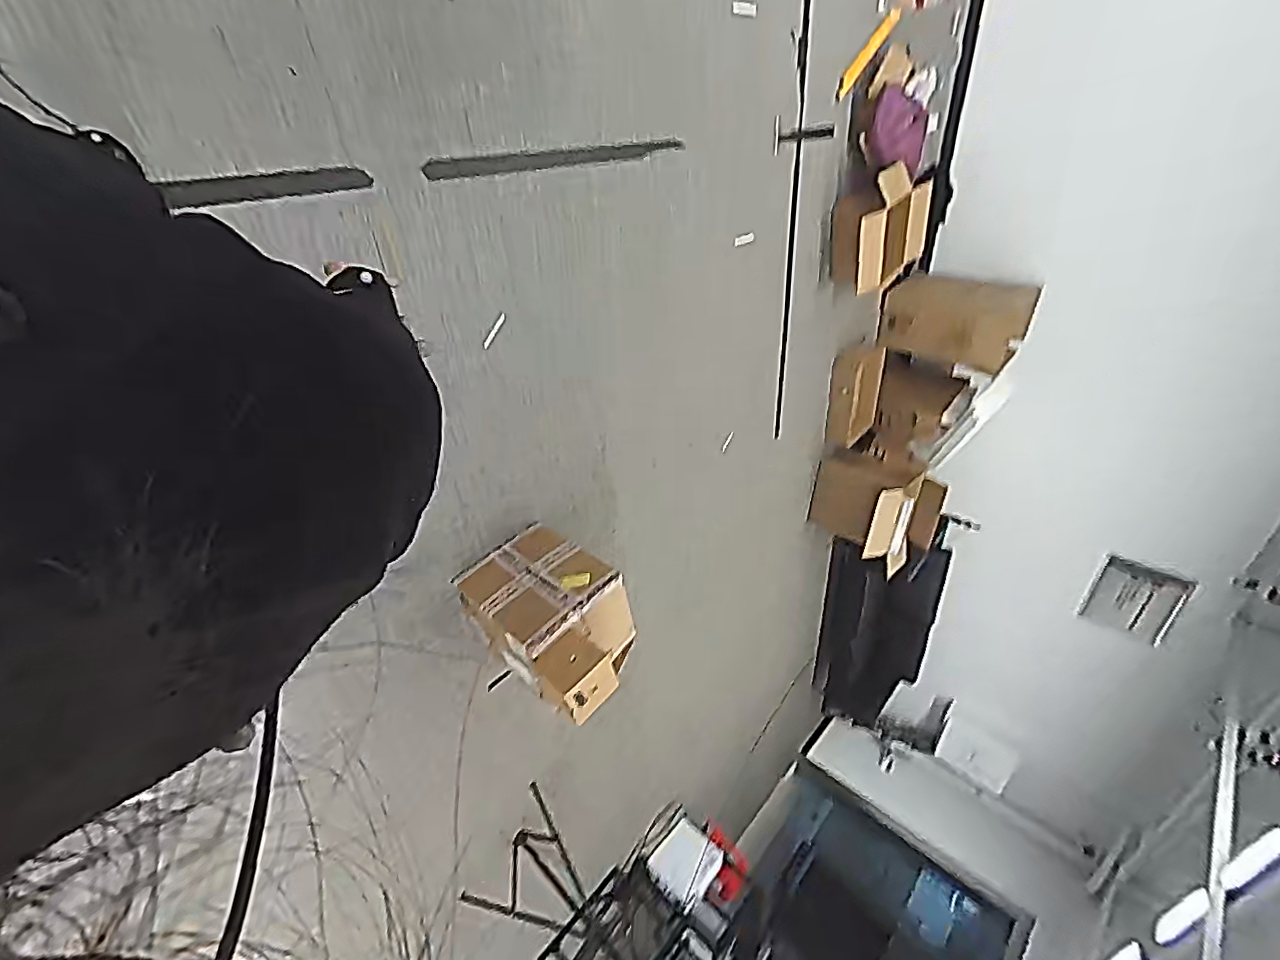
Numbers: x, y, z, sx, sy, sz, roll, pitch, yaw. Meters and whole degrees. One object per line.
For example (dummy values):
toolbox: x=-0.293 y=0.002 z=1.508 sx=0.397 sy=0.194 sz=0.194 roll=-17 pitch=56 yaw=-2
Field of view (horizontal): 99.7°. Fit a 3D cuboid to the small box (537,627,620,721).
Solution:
small box: x=-0.195 y=0.589 z=1.659 sx=0.179 sy=0.176 sz=0.168 roll=-38 pitch=132 yaw=-30
